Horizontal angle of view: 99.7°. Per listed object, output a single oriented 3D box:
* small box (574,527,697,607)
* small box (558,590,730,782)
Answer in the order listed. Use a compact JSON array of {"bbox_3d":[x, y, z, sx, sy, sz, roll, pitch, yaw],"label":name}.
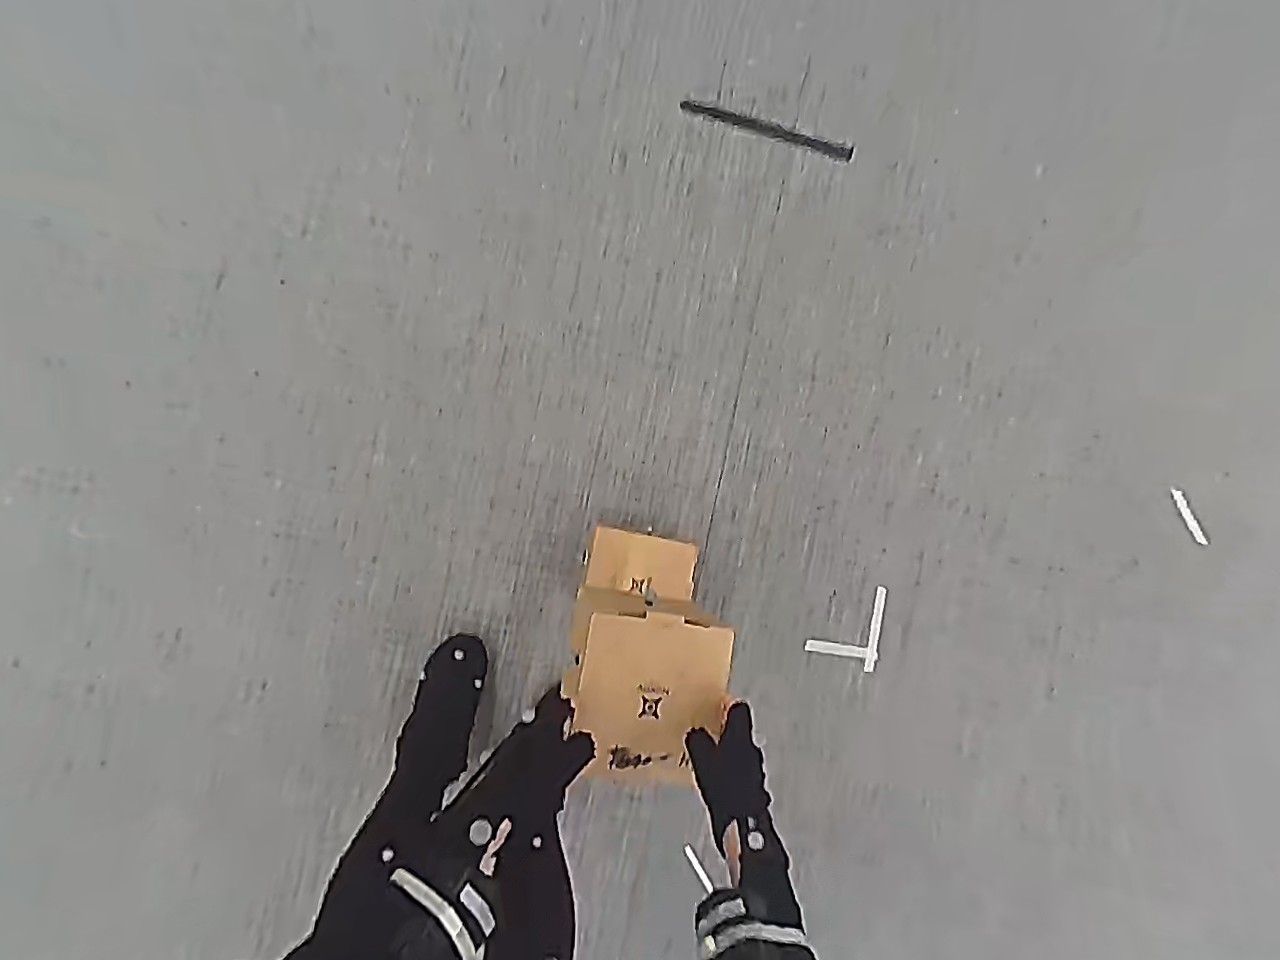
[{"bbox_3d":[-0.016,0.179,0.959,0.179,0.176,0.168,12,87,-7],"label":"small box"},{"bbox_3d":[-0.005,0.240,0.670,0.168,0.176,0.179,11,86,-11],"label":"small box"}]
